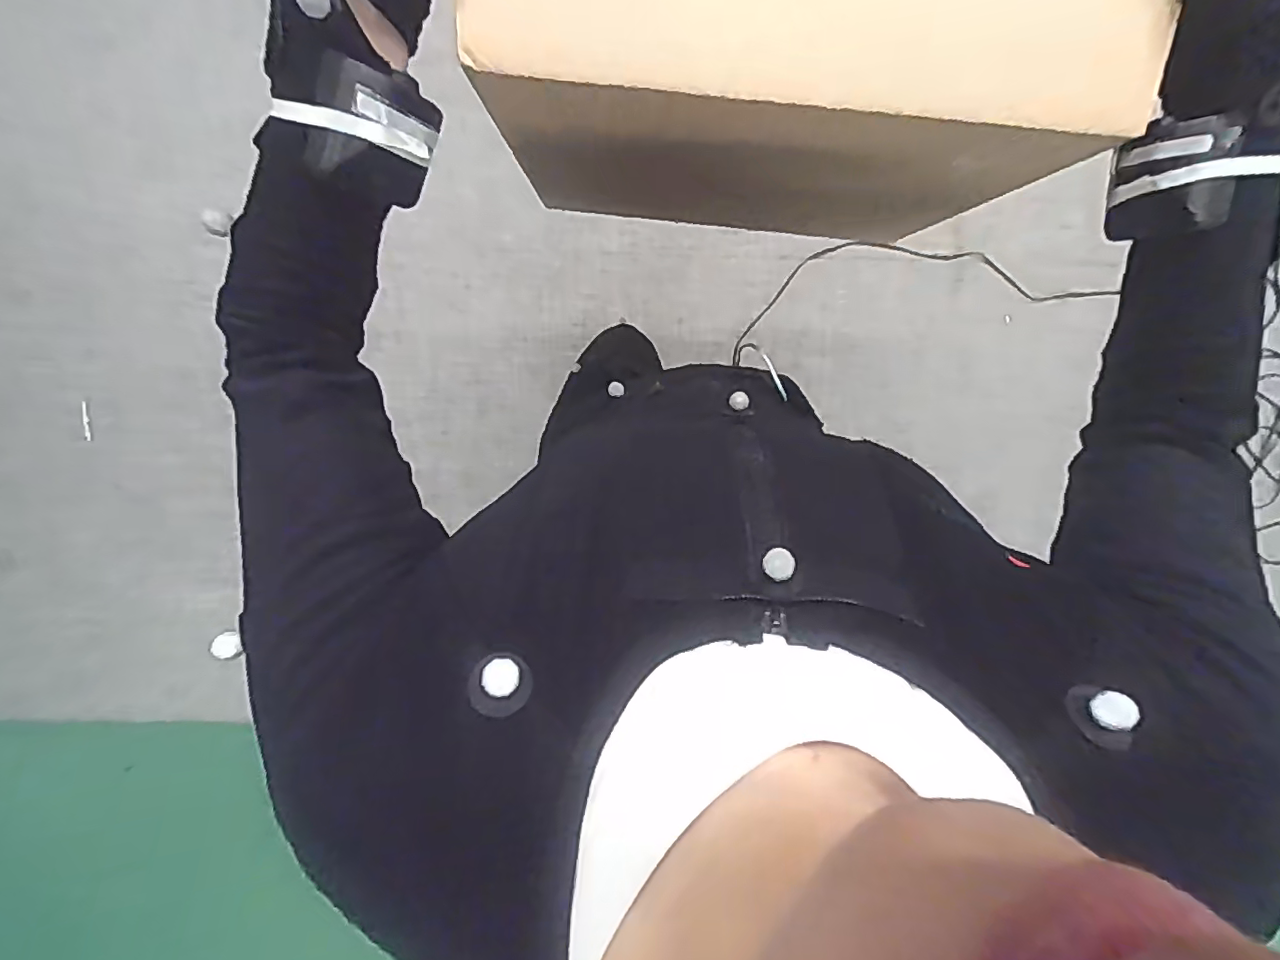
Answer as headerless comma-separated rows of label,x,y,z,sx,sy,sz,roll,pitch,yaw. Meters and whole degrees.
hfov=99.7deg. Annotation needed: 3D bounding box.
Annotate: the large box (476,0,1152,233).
large box,0.105,-0.410,0.439,0.408,0.320,0.320,4,103,-2
